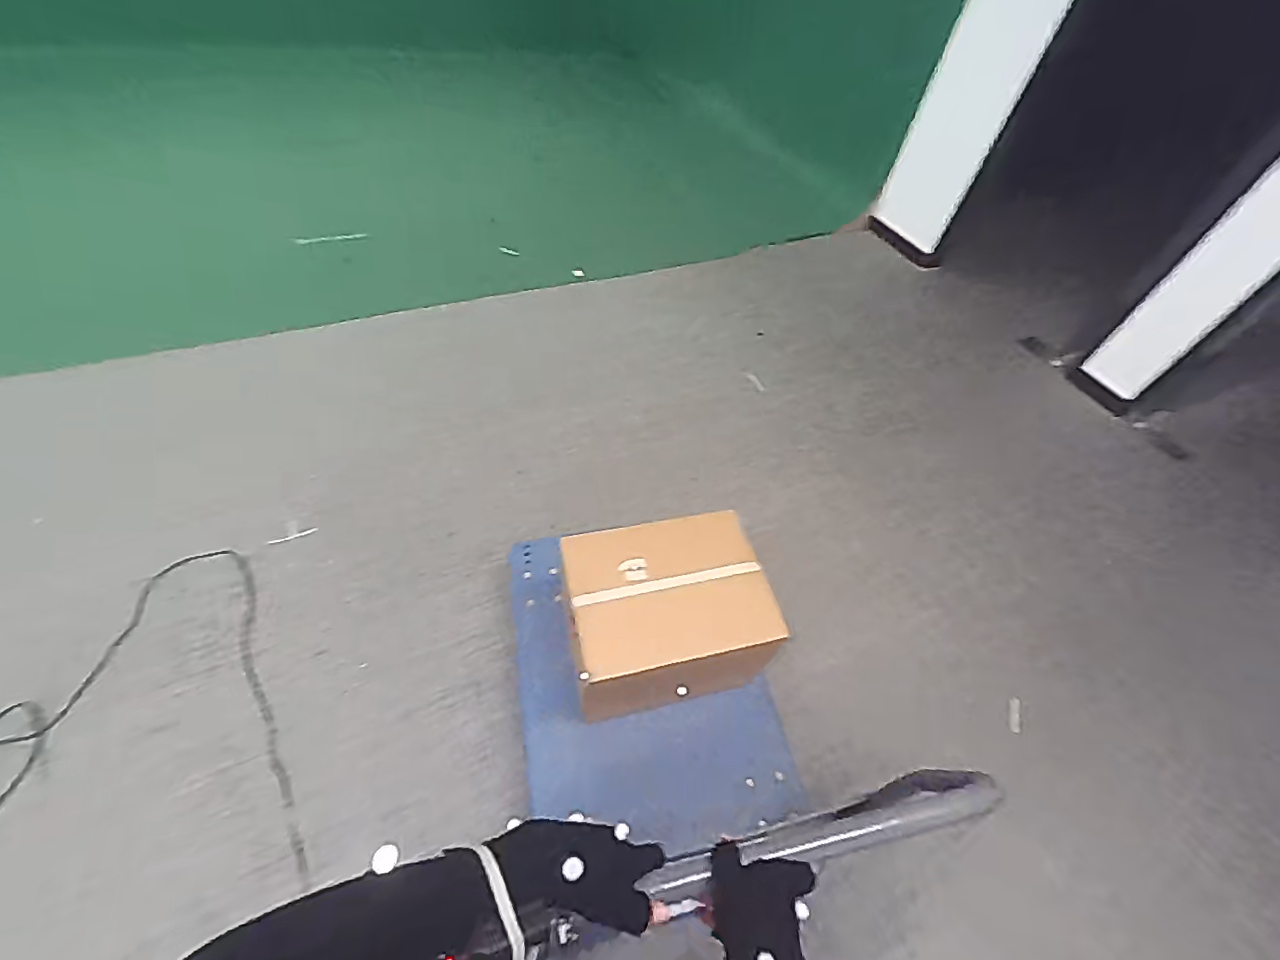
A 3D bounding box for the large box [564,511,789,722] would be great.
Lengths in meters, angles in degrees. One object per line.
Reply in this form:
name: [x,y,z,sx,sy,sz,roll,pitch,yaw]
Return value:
large box: [0.057,0.311,1.229,0.408,0.320,0.320,-10,54,-13]
